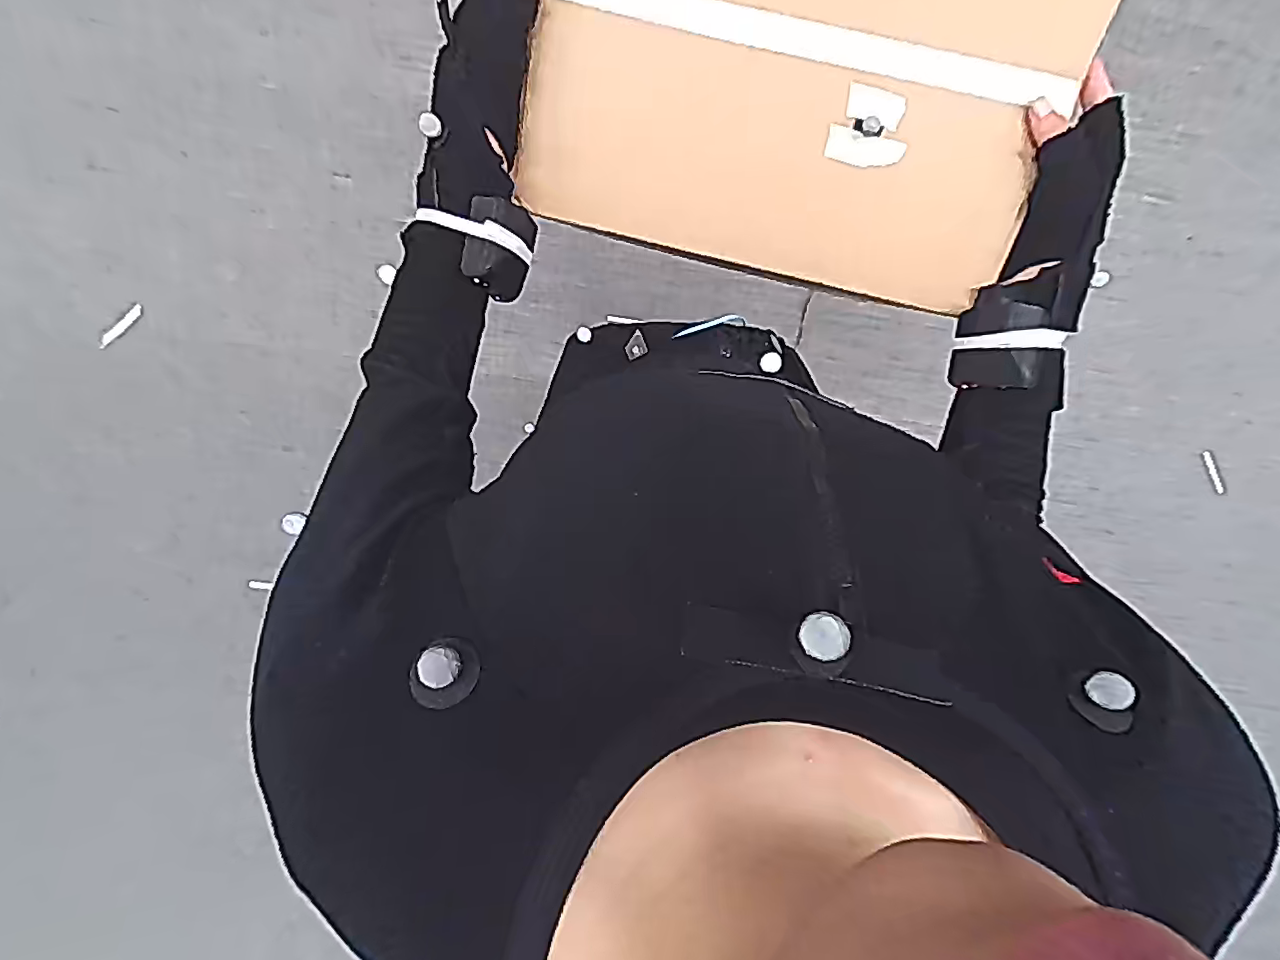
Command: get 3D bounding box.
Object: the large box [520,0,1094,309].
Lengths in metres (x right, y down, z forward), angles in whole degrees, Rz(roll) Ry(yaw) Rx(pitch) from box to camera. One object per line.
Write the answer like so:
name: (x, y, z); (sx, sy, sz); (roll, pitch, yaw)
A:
large box: (0.130, -0.383, 0.550); (0.408, 0.320, 0.320); (14, 113, 0)
